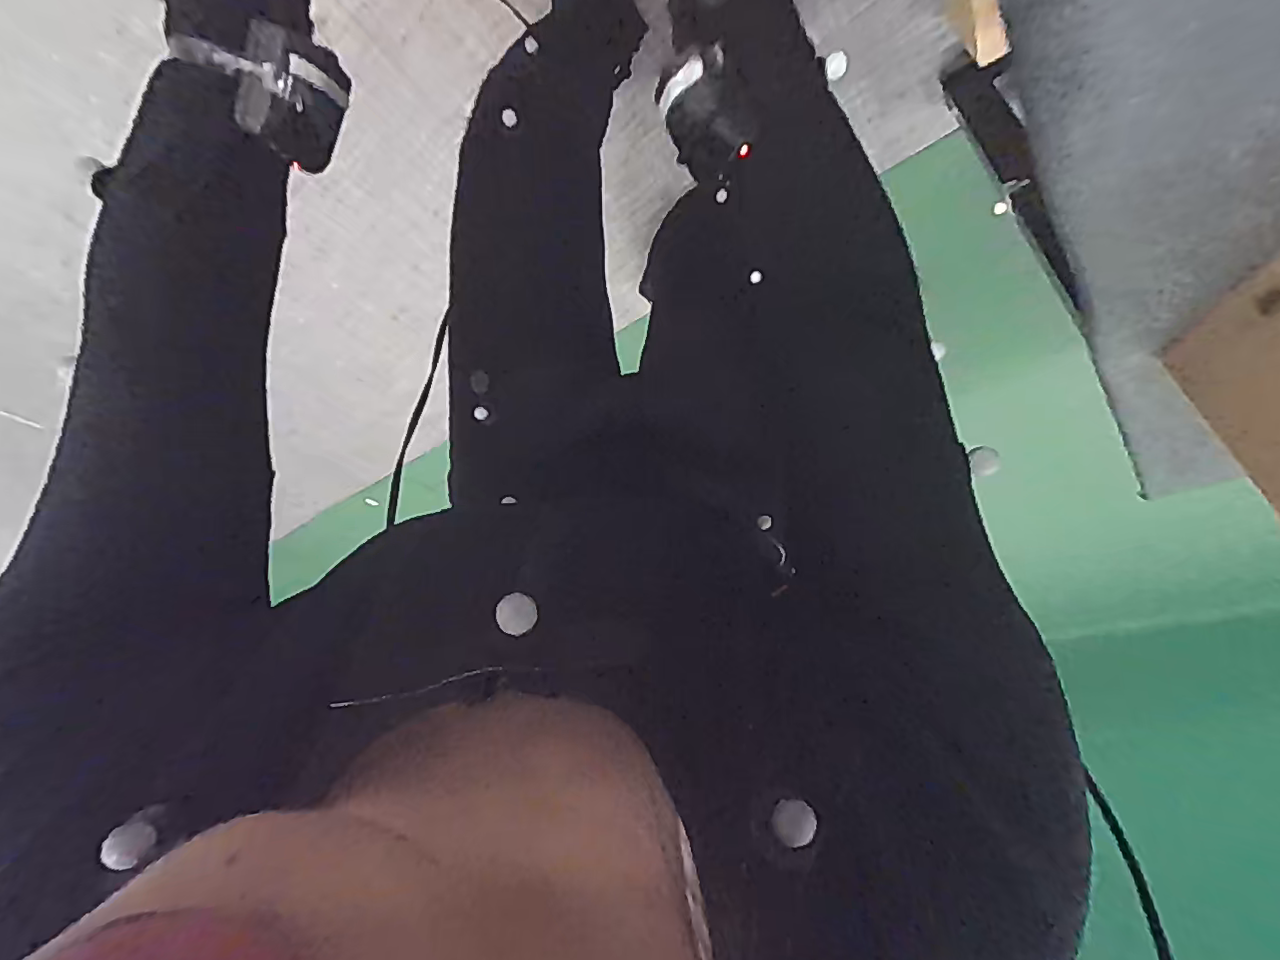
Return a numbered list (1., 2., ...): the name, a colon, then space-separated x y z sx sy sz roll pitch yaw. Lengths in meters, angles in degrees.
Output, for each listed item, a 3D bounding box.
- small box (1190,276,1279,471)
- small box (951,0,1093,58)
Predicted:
1. small box: 0.431 -0.052 0.241 0.179 0.176 0.168 5 145 -5
2. small box: 0.466 -0.667 0.637 0.168 0.176 0.179 -18 144 29
